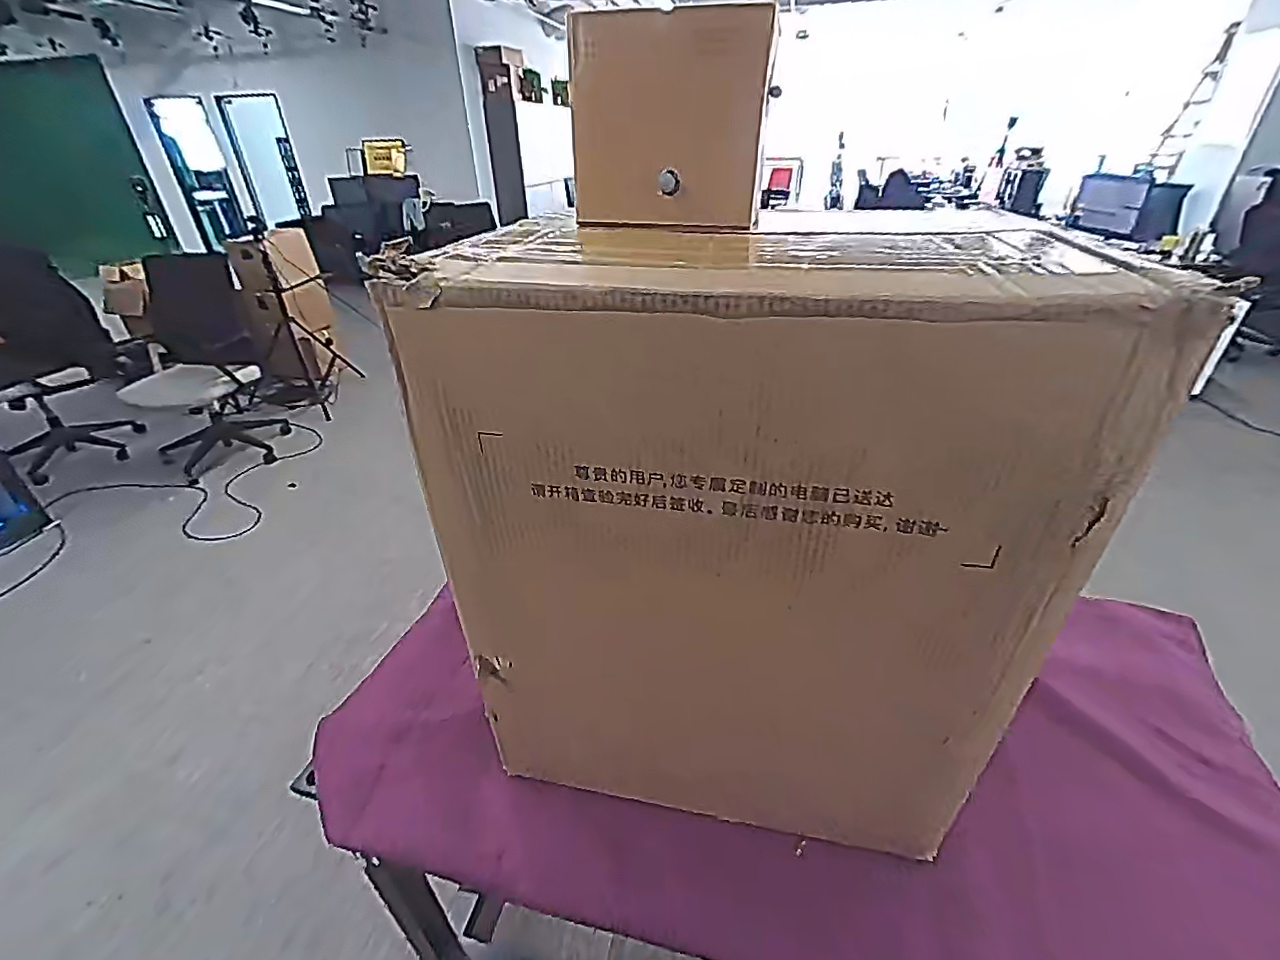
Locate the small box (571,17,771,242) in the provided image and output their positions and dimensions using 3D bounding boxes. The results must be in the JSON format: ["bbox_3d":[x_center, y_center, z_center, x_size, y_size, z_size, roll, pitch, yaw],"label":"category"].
[{"bbox_3d":[0.034,-0.348,0.554,0.179,0.176,0.168,6,33,12],"label":"small box"}]
